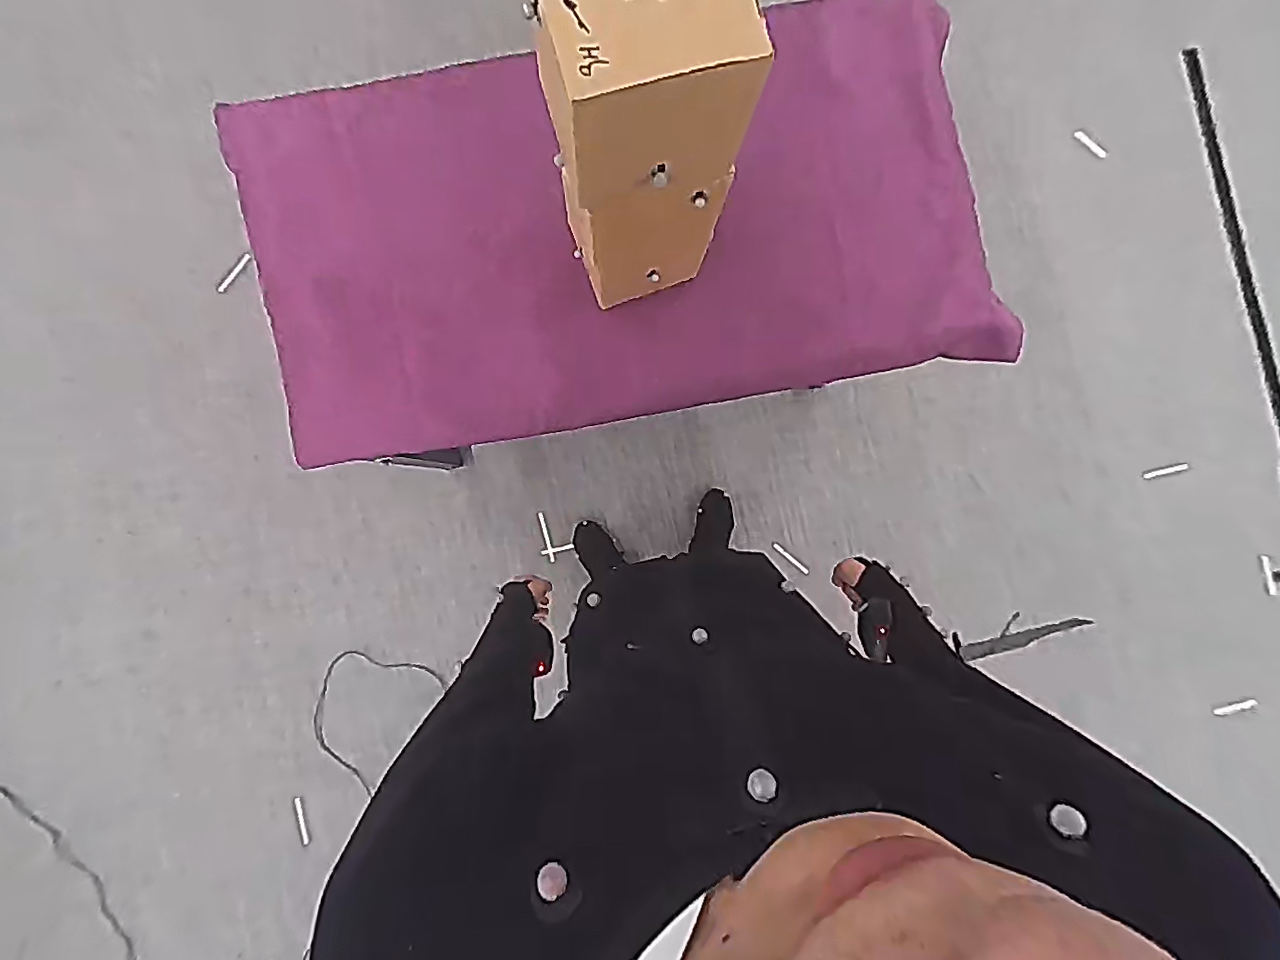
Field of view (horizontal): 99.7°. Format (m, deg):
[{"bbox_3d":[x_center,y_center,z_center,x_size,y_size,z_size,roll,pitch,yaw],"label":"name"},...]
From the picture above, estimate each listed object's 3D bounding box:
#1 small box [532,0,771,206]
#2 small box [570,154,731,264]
[{"bbox_3d":[-0.001,-0.397,0.518,0.179,0.176,0.168,-16,89,-5],"label":"small box"},{"bbox_3d":[-0.005,-0.398,0.682,0.179,0.176,0.168,-16,90,-4],"label":"small box"}]
